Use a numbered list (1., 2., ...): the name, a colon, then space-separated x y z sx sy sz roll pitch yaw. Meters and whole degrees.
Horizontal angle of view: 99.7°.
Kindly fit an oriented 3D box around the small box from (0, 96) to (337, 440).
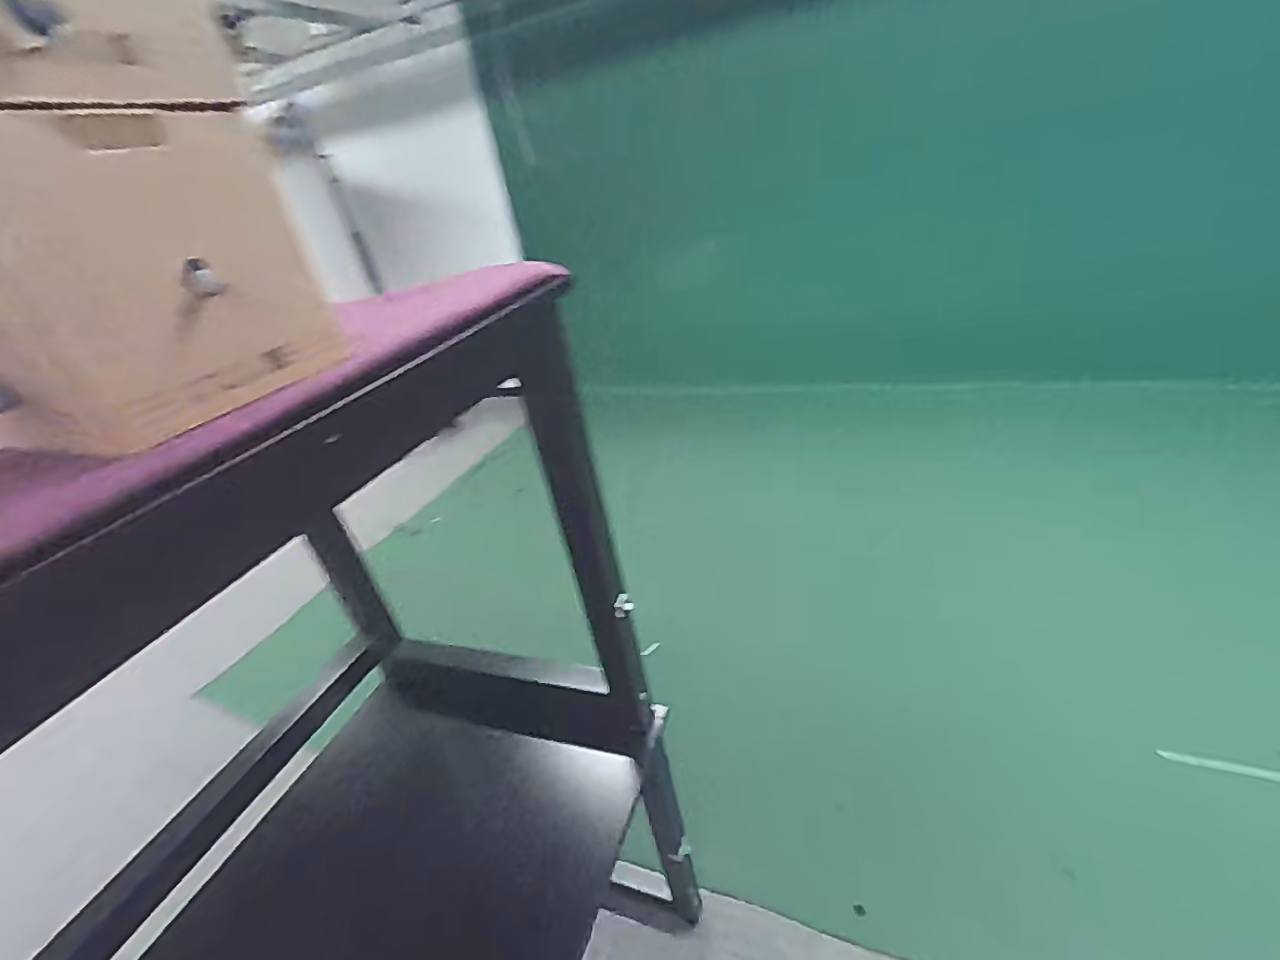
1. small box: -0.347 -0.136 0.357 0.179 0.176 0.168 4 33 22

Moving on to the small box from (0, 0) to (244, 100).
1. small box: -0.369 -0.280 0.281 0.179 0.176 0.168 6 35 24
